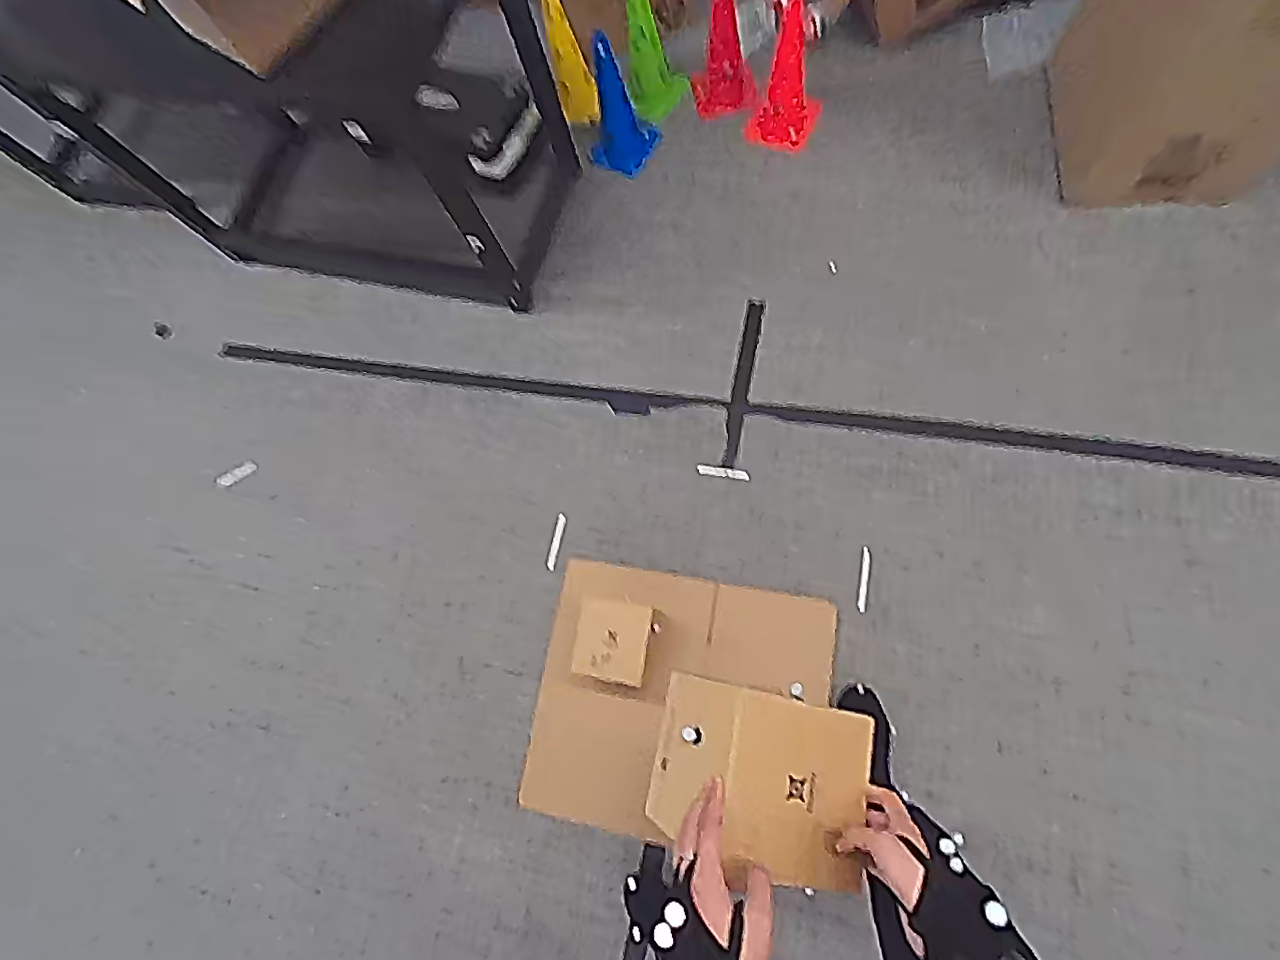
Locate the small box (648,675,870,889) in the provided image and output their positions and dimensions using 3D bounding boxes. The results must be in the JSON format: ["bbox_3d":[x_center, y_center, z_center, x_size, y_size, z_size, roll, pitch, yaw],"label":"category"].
[{"bbox_3d":[0.126,0.325,0.613,0.179,0.176,0.168,19,71,-17],"label":"small box"}]

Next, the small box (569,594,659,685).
[{"bbox_3d":[-0.054,0.378,1.290,0.168,0.176,0.179,7,76,12],"label":"small box"}]
